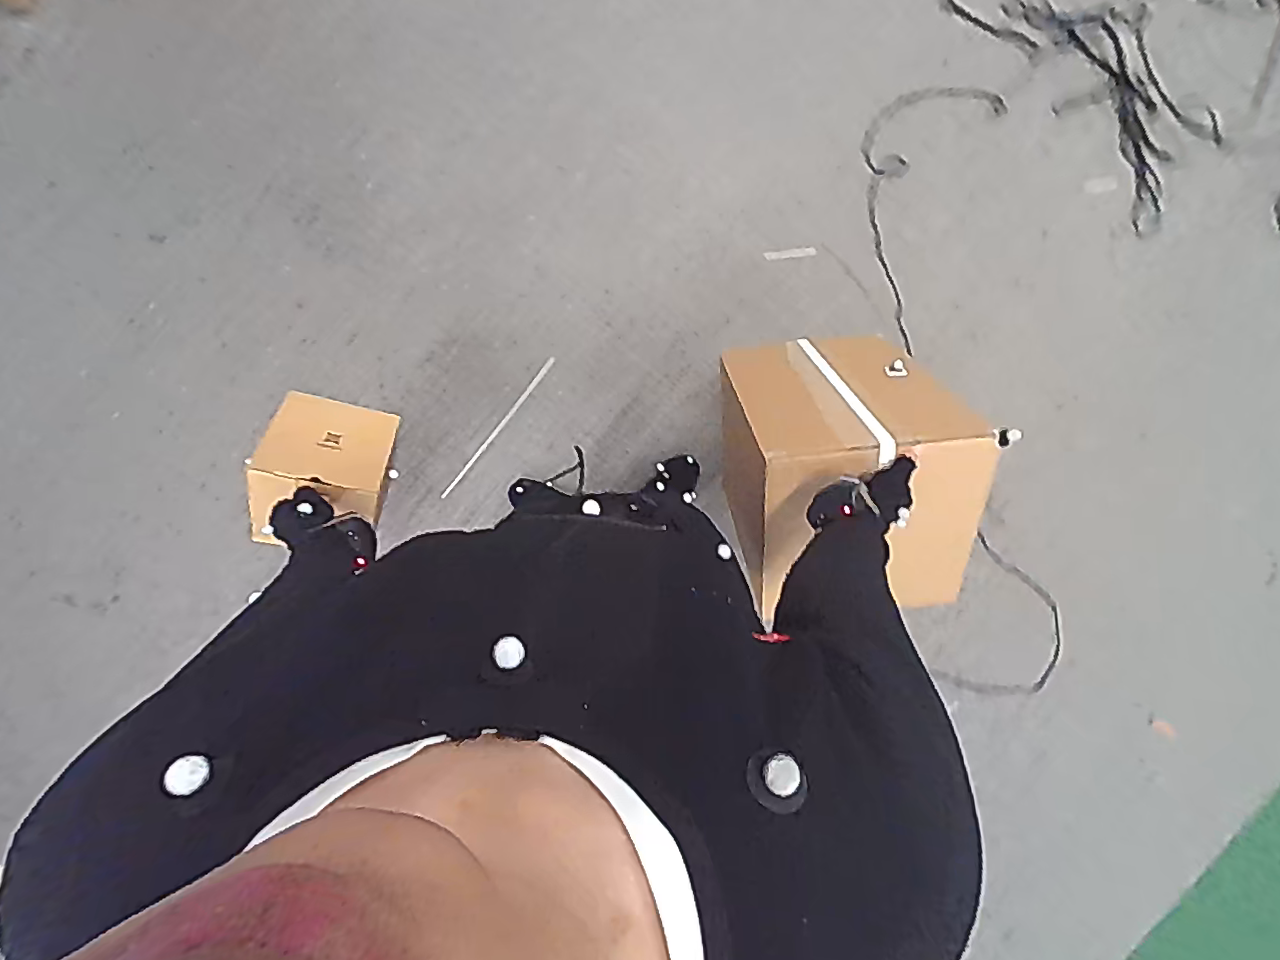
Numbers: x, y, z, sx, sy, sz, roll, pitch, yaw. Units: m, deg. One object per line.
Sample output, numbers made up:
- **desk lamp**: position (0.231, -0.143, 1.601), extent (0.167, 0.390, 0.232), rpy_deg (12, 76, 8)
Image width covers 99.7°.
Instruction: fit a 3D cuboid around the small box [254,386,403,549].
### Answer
- **small box**: position (-0.498, -0.017, 0.873), extent (0.168, 0.179, 0.176), rpy_deg (13, 133, -22)
